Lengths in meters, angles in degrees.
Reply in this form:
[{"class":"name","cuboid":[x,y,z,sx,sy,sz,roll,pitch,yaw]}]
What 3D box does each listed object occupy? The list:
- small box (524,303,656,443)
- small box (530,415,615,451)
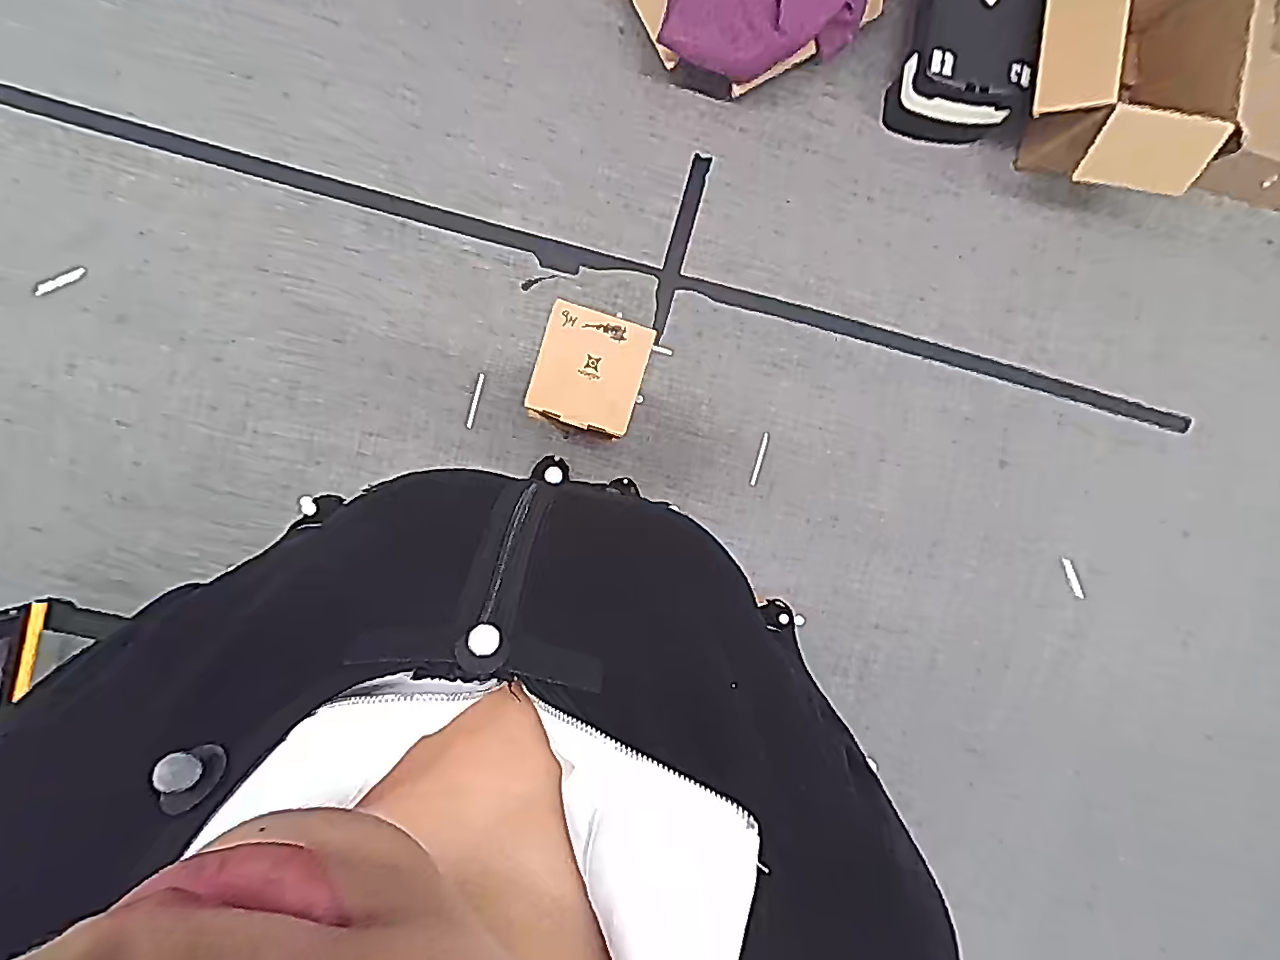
[{"class":"small box","cuboid":[-0.079,-0.169,0.910,0.168,0.176,0.179,17,93,-4]},{"class":"small box","cuboid":[-0.103,-0.167,1.073,0.168,0.176,0.179,21,93,-4]}]
